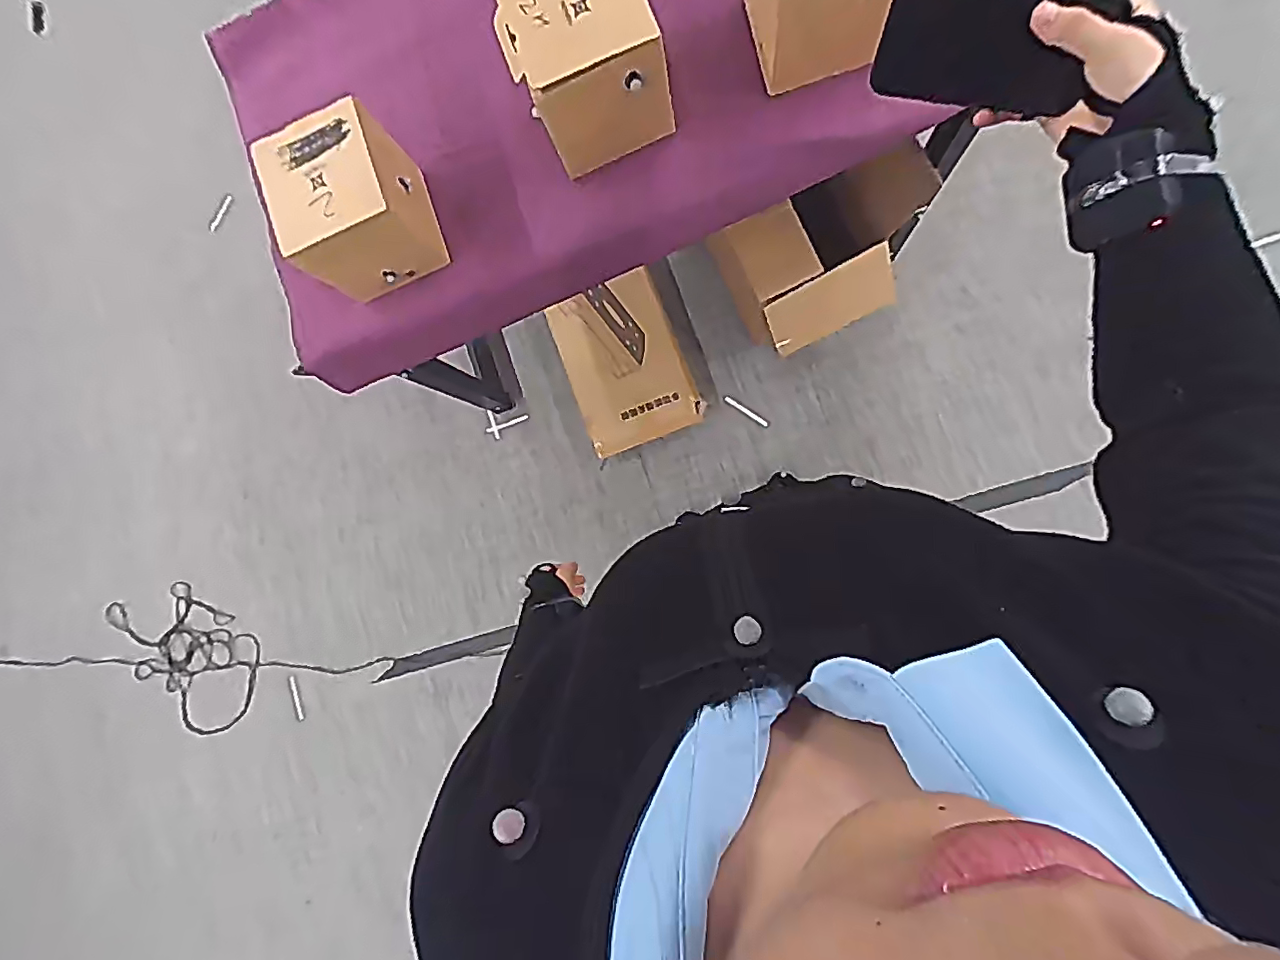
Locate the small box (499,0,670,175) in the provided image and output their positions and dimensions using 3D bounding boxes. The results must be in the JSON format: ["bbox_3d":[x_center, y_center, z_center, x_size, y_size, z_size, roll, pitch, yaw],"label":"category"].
[{"bbox_3d":[-0.065,-0.572,0.747,0.179,0.176,0.168,-21,82,8],"label":"small box"}]

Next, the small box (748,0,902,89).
[{"bbox_3d":[0.238,-0.661,0.702,0.179,0.176,0.168,-14,85,8],"label":"small box"}]
